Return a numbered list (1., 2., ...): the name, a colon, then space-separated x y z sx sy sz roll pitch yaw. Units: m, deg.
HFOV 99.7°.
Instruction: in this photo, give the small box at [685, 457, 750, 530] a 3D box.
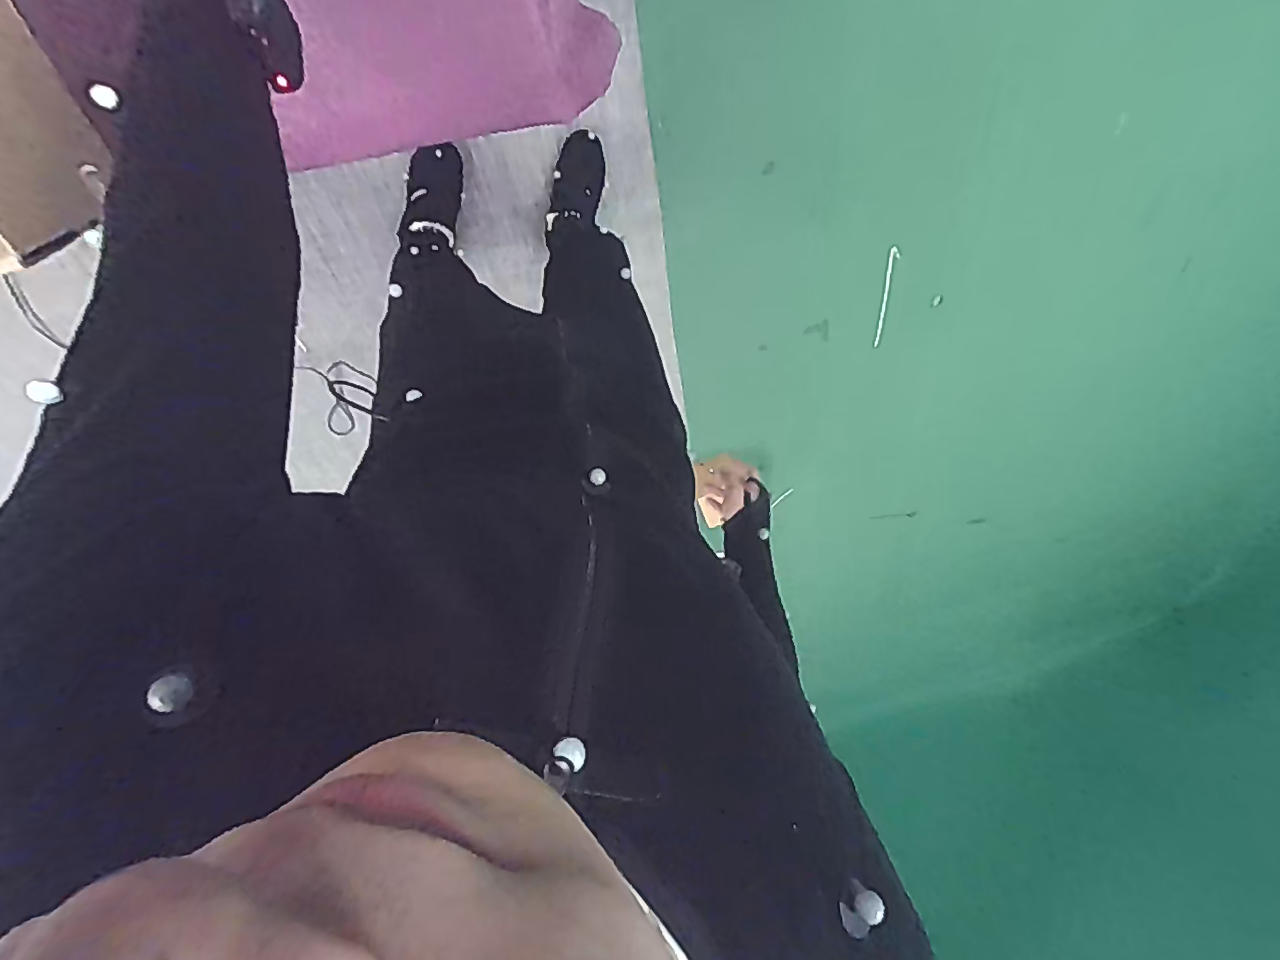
1. small box: 0.273 0.040 1.929 0.168 0.176 0.179 -22 131 5
